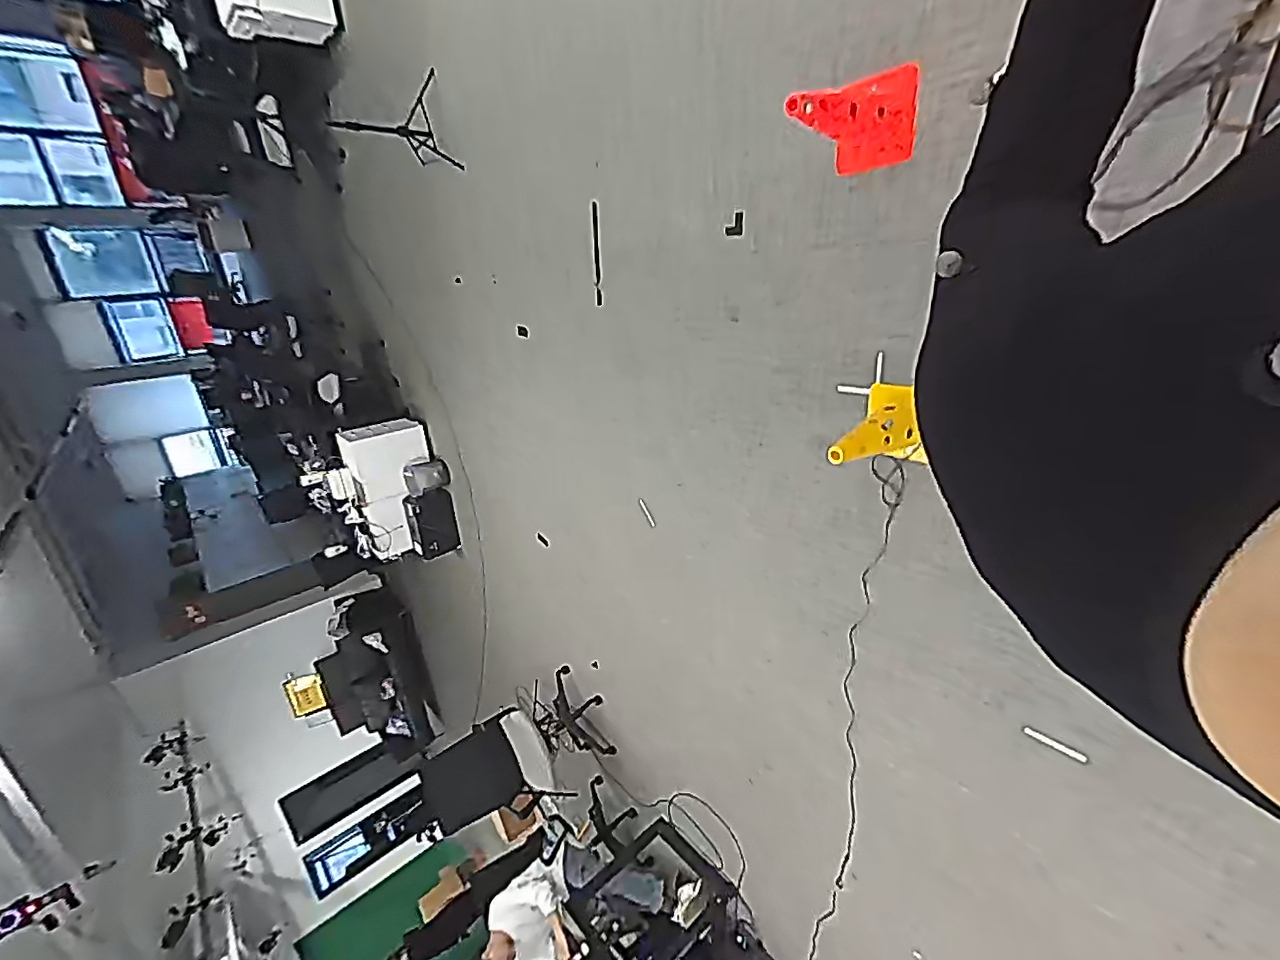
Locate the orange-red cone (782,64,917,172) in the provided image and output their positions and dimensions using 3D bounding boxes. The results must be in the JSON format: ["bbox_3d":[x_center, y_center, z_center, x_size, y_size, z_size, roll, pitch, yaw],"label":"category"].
[{"bbox_3d":[0.443,-0.827,1.223,0.198,0.360,0.199,19,122,47],"label":"orange-red cone"}]
